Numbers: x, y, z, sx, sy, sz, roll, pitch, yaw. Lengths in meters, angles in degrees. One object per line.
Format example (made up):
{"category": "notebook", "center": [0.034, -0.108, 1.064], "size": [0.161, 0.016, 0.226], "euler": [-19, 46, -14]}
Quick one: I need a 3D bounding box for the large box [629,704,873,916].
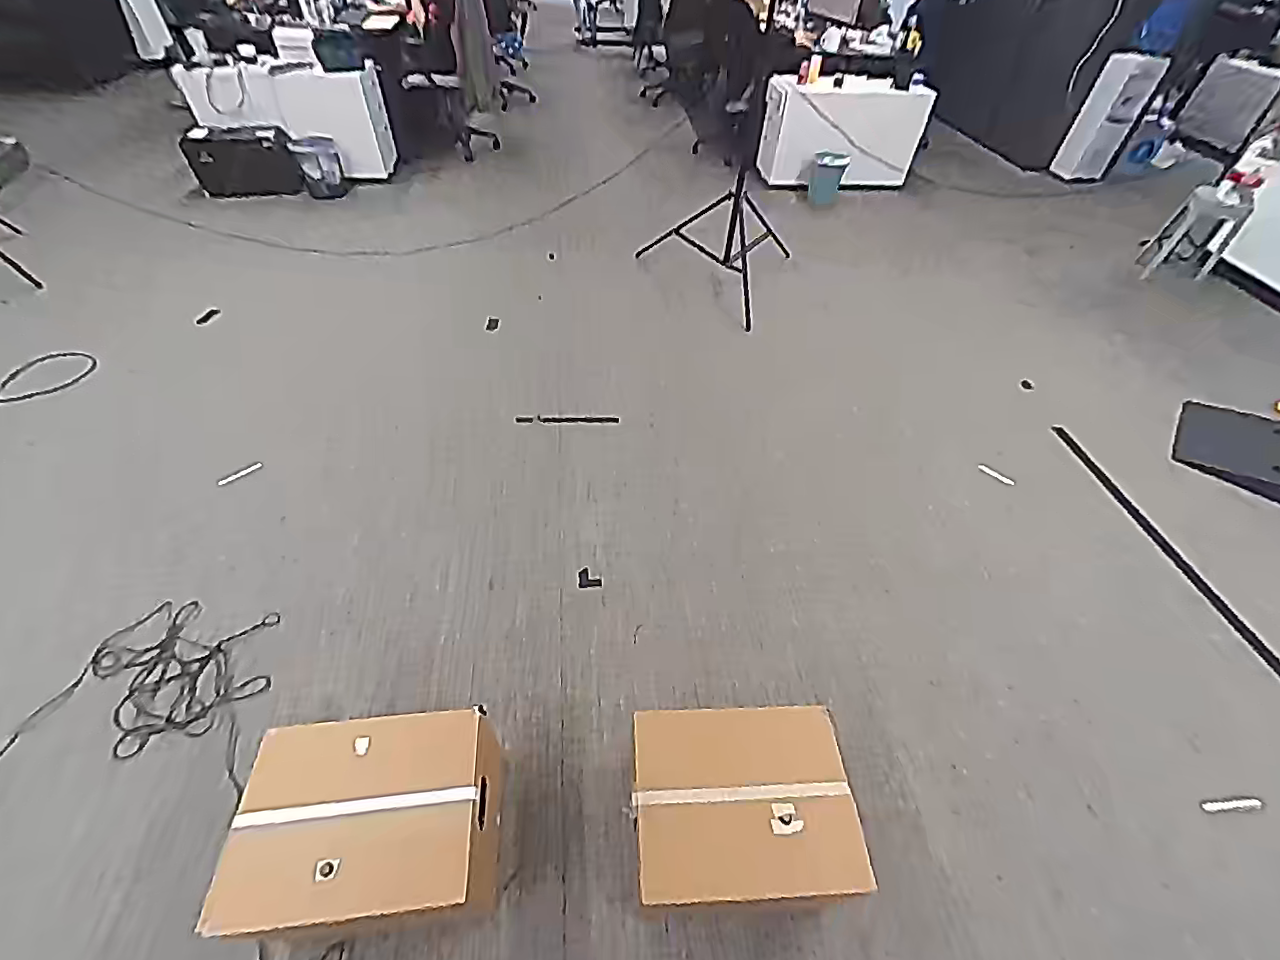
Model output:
{"category": "large box", "center": [0.189, 0.684, 1.123], "size": [0.408, 0.320, 0.320], "euler": [0, 48, -4]}
